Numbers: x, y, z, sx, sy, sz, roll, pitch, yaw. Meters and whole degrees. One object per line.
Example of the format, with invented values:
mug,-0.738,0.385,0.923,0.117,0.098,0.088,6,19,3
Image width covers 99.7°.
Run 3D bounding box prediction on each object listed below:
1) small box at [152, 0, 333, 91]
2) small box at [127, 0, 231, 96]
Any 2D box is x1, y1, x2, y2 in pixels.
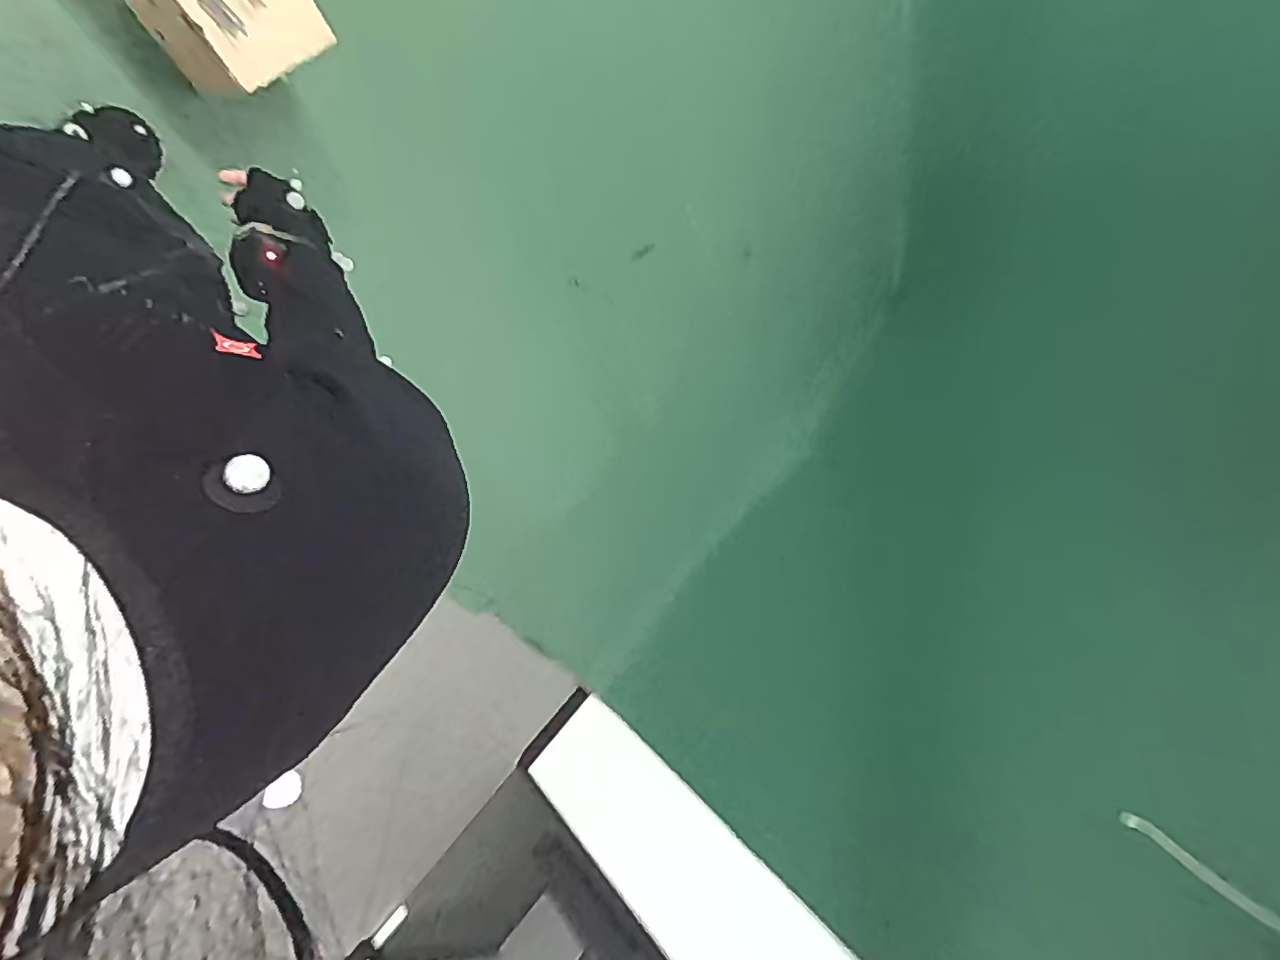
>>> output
small box,-0.633,-0.738,0.847,0.179,0.176,0.168,-46,140,-16
small box,-0.744,-0.807,0.948,0.179,0.176,0.168,-46,140,-16
